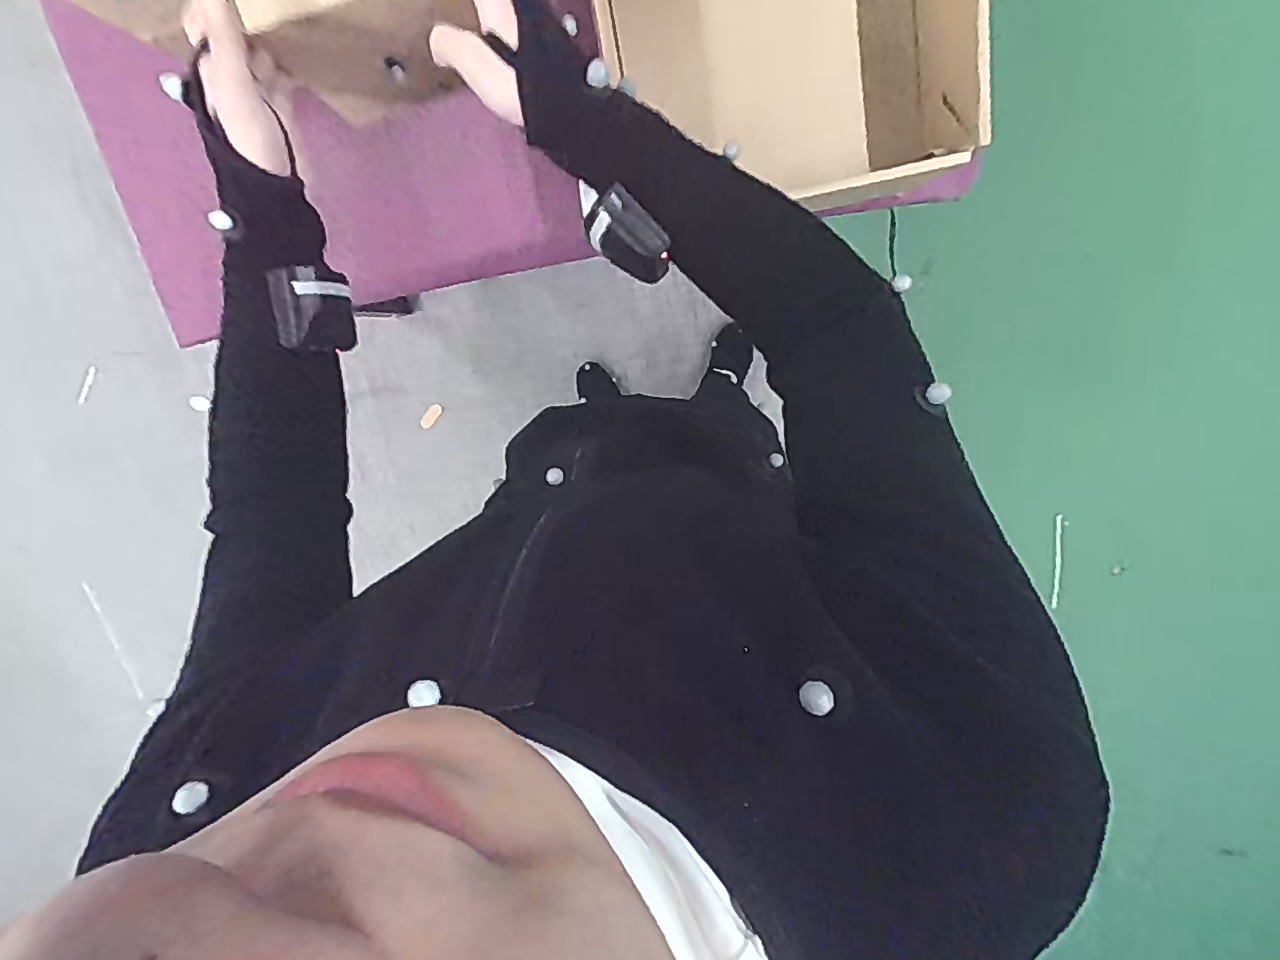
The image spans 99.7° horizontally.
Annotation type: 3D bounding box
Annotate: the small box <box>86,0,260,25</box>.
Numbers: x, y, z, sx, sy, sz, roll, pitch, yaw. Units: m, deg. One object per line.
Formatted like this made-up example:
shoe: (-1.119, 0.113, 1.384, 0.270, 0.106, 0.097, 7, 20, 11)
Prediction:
small box: (-0.504, -0.573, 0.507, 0.168, 0.176, 0.179, -10, 105, 5)

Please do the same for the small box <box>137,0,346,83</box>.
small box: (-0.498, -0.622, 0.661, 0.168, 0.176, 0.179, -9, 105, 4)
